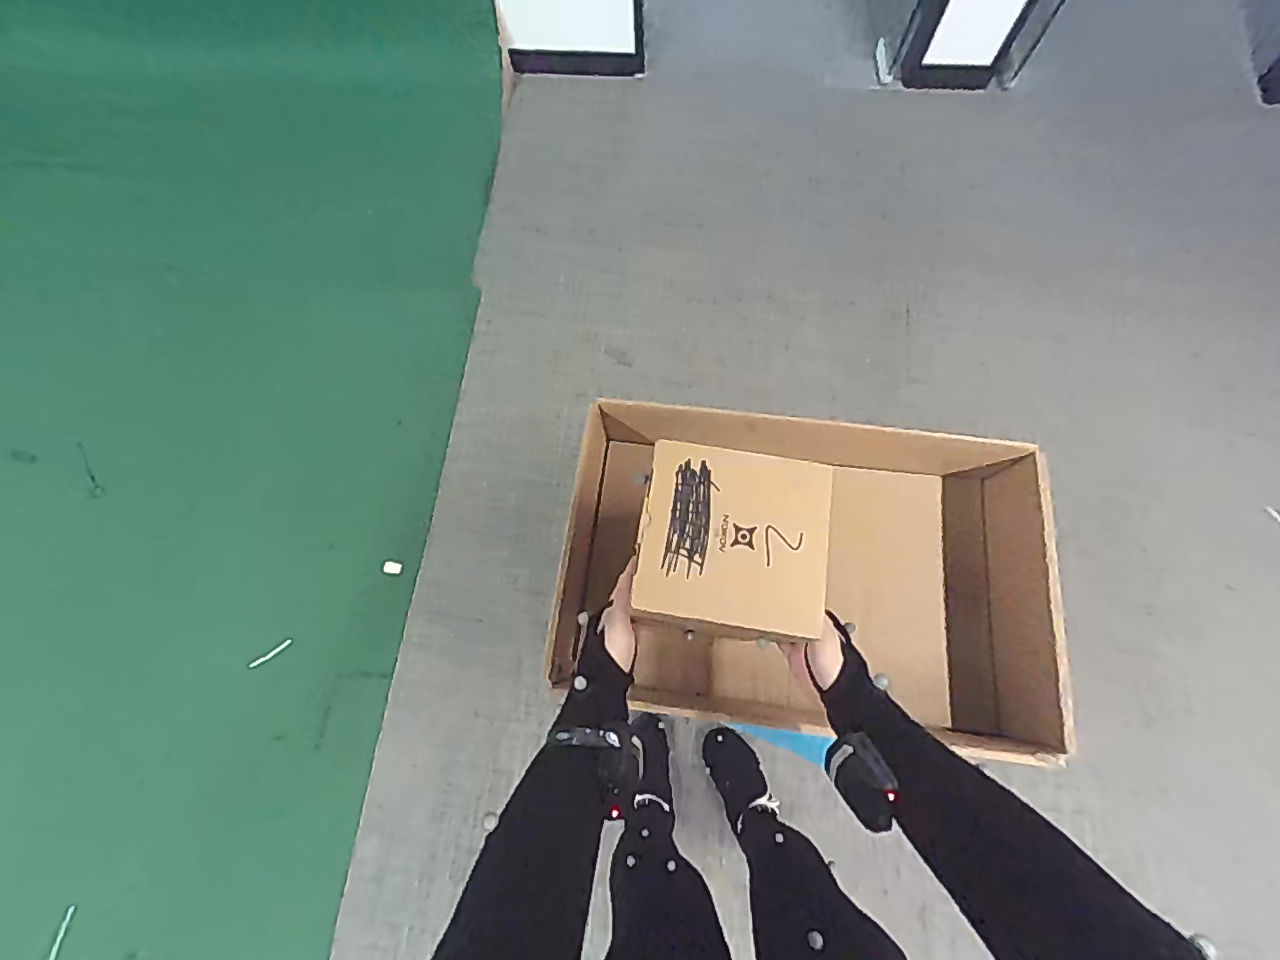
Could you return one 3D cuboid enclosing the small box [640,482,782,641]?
[{"bbox_3d":[0.091,0.118,0.736,0.168,0.176,0.179,5,72,4],"label":"small box"}]
